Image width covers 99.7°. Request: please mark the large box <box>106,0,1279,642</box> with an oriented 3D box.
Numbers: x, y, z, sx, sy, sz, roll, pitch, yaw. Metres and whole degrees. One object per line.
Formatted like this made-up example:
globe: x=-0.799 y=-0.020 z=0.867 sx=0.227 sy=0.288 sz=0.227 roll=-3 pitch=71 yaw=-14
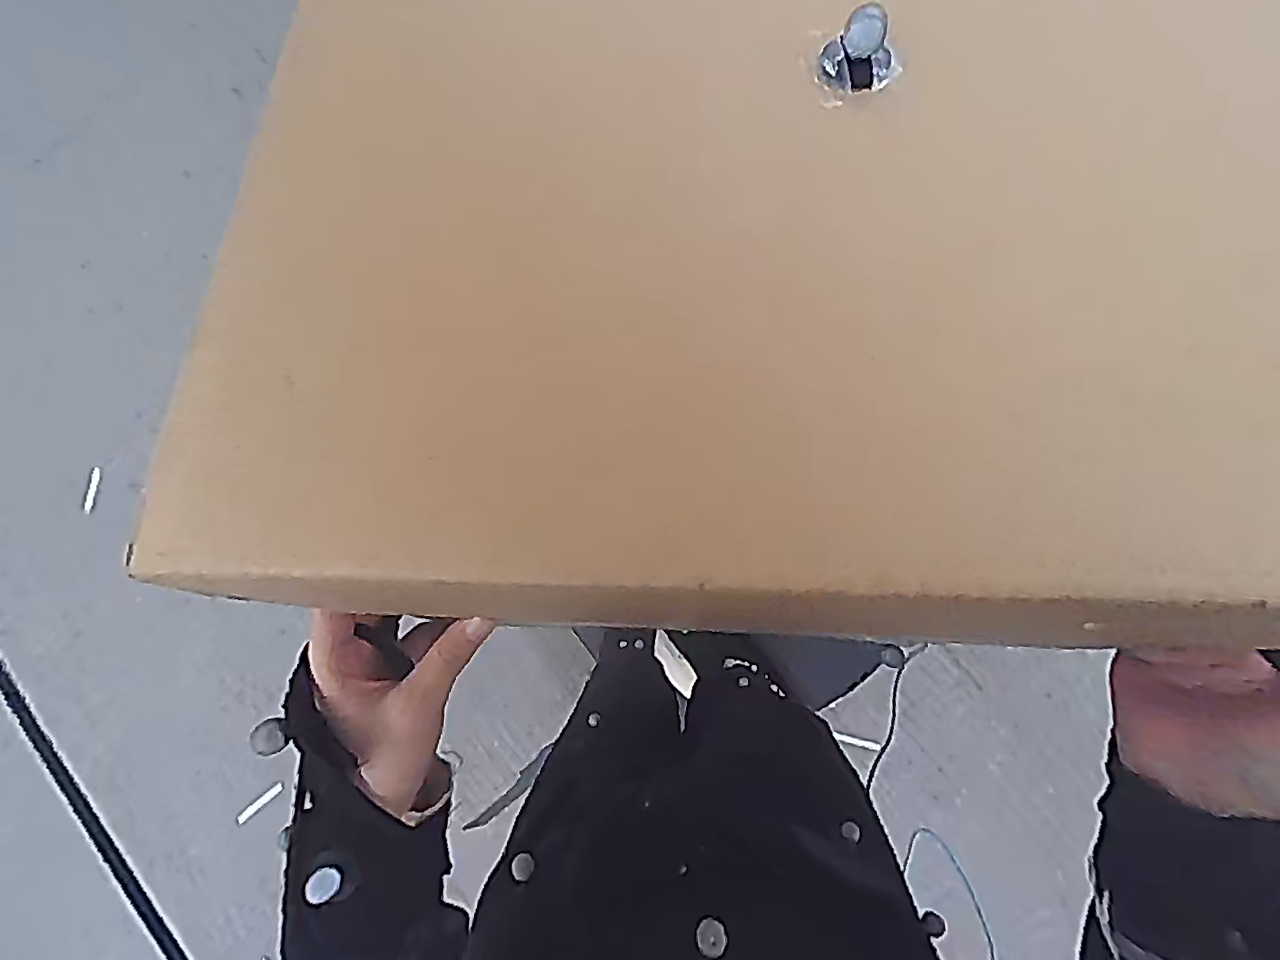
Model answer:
large box: x=0.065 y=-0.079 z=0.311 sx=0.408 sy=0.320 sz=0.320 roll=0 pitch=74 yaw=5
